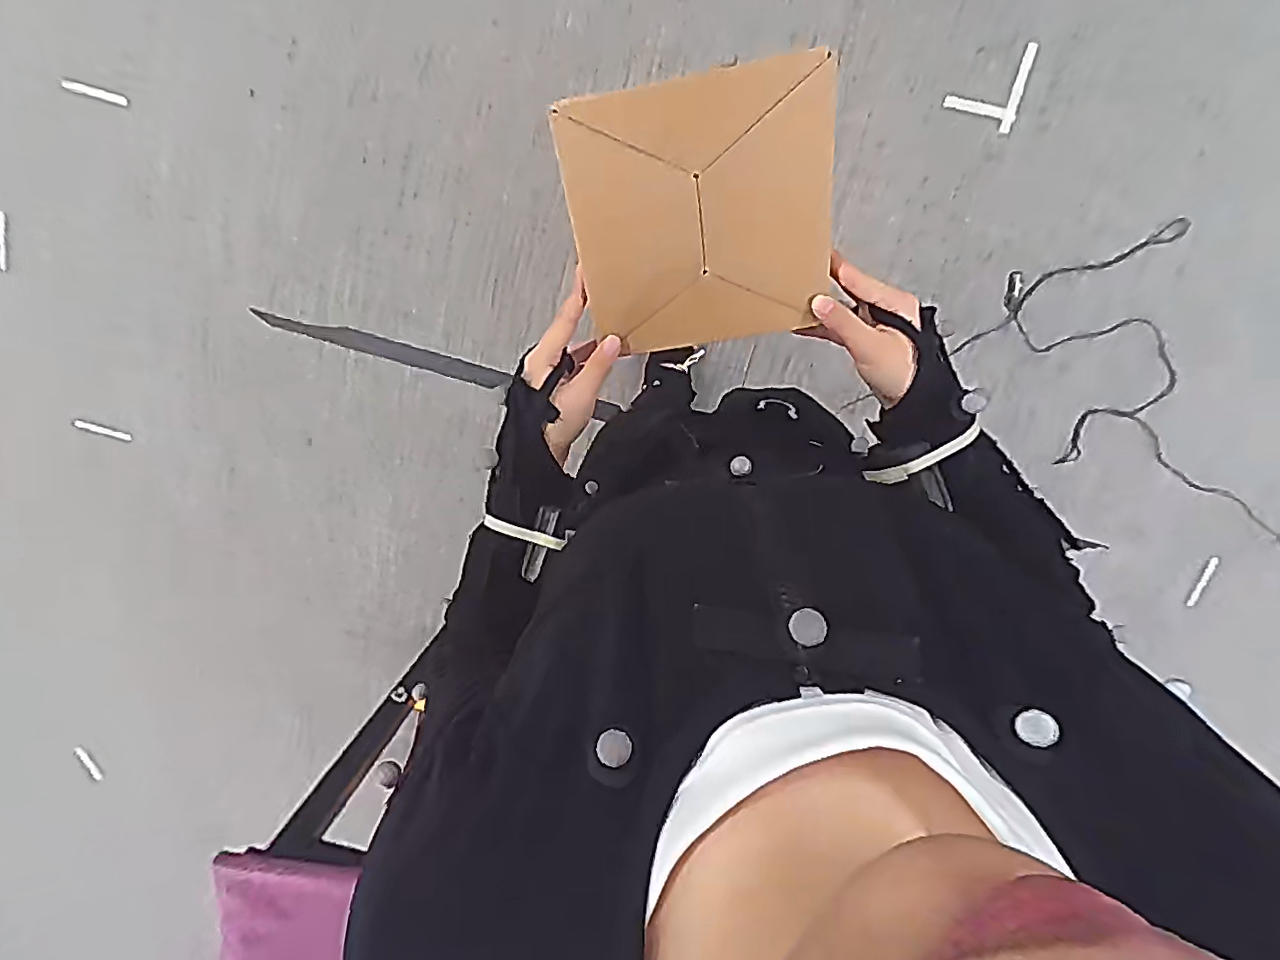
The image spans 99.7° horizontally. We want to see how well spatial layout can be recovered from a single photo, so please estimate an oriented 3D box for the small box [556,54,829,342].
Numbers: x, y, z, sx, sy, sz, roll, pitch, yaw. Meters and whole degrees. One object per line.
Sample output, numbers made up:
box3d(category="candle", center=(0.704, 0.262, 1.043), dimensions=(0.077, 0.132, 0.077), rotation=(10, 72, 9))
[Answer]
box3d(category="small box", center=(0.039, -0.224, 0.437), dimensions=(0.179, 0.176, 0.168), rotation=(-7, 124, 5))
